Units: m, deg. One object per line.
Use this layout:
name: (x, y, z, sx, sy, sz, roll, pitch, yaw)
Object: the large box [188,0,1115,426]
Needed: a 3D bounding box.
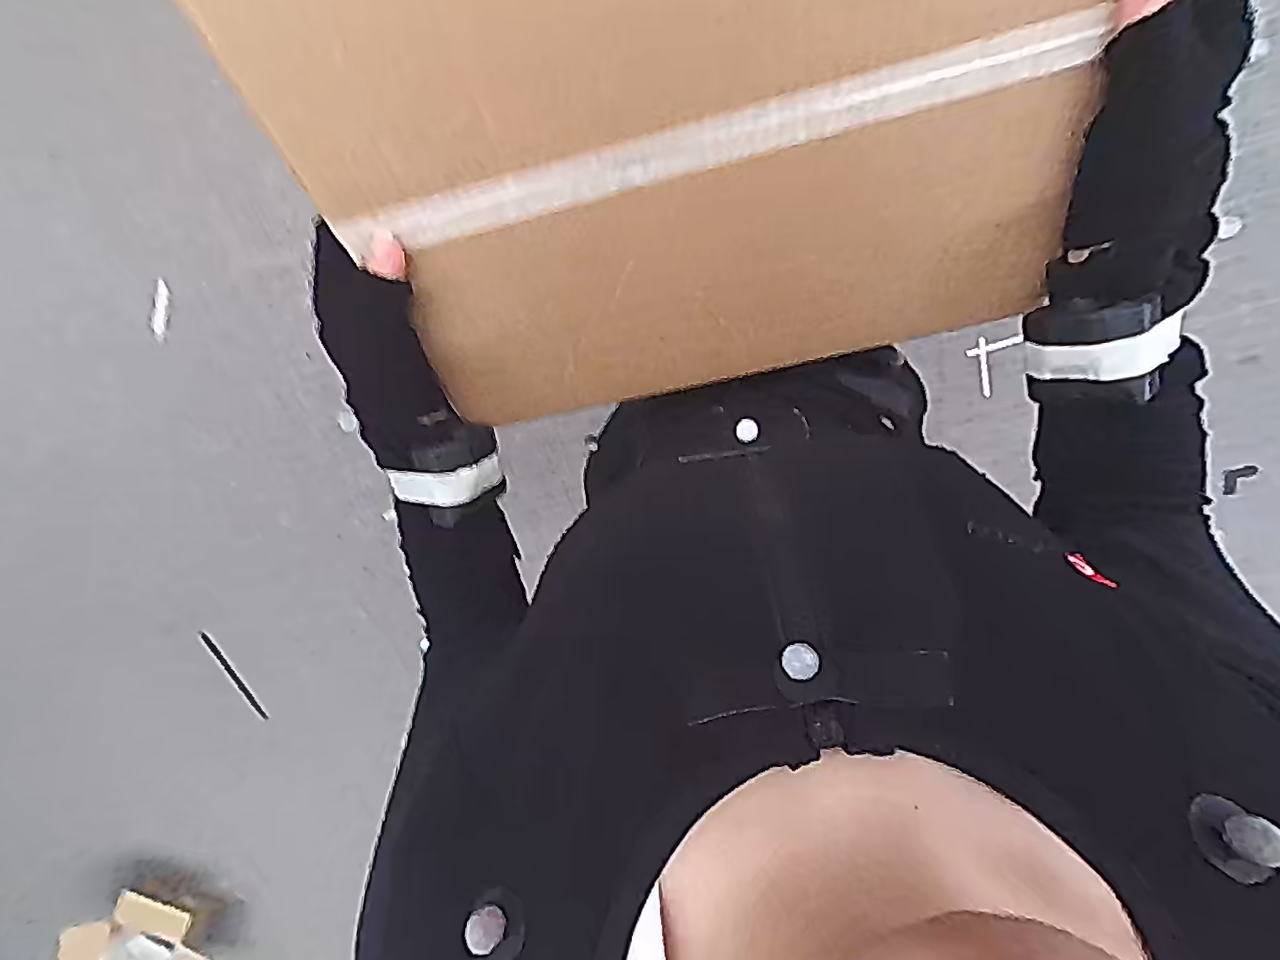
large box: (0.021, -0.289, 0.382, 0.408, 0.320, 0.320, -11, 139, 8)
